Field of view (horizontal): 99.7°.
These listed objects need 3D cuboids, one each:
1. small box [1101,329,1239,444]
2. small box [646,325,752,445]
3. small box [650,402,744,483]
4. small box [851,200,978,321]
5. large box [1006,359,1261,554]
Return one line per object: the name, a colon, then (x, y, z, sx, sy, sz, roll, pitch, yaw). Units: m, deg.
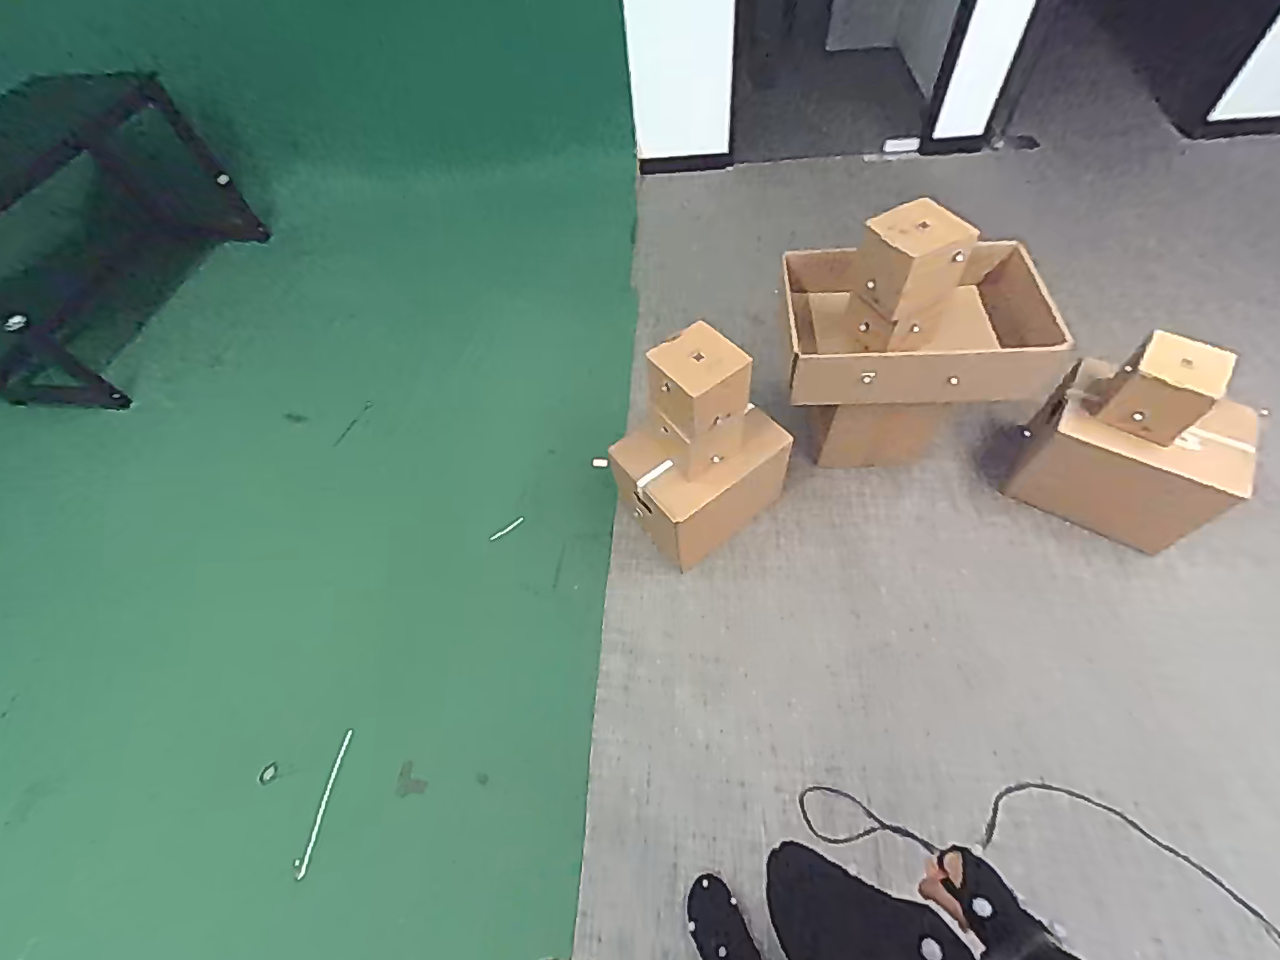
small box: (1.268, -0.223, 1.304, 0.168, 0.176, 0.179, 31, 64, 24)
small box: (0.134, -0.214, 1.237, 0.168, 0.176, 0.179, -34, 59, -14)
small box: (0.143, -0.125, 1.374, 0.168, 0.176, 0.179, -32, 59, -13)
small box: (0.617, -0.500, 1.240, 0.179, 0.176, 0.168, -25, 57, -9)
large box: (1.322, -0.064, 1.486, 0.408, 0.320, 0.320, 28, 64, 21)
